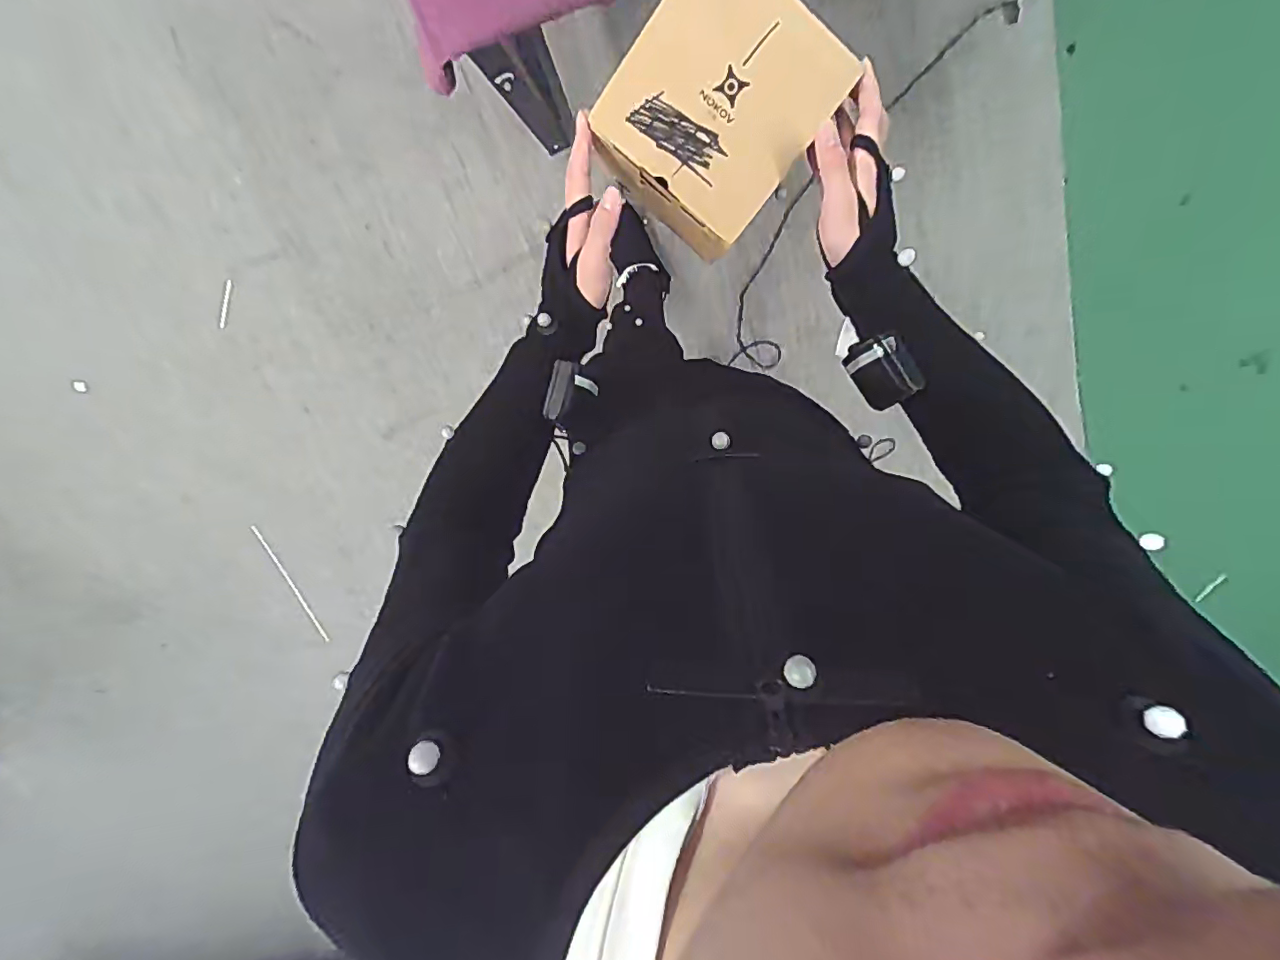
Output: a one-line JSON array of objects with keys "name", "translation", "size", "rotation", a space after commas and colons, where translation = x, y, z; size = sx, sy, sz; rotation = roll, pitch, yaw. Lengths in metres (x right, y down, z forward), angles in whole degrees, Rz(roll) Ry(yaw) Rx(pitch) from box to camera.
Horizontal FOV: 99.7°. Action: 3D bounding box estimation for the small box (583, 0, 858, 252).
[{"name": "small box", "translation": [0.069, -0.350, 0.528], "size": [0.168, 0.176, 0.179], "rotation": [37, 104, -9]}]
